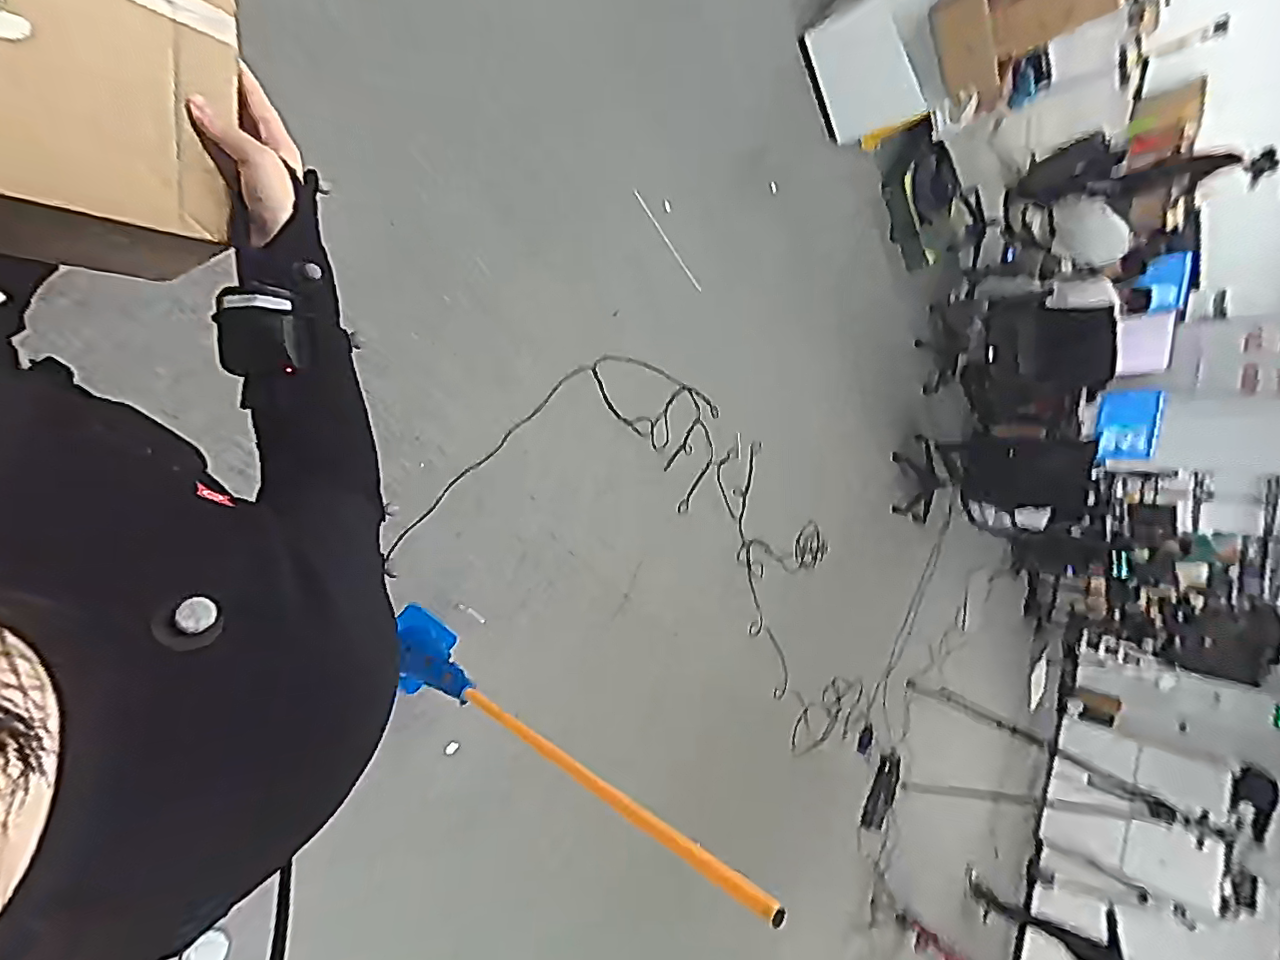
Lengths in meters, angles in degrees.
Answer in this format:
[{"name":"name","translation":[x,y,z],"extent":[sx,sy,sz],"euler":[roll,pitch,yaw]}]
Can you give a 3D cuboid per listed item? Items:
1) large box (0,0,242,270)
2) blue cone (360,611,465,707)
[{"name":"large box","translation":[-0.558,-0.362,0.367],"extent":[0.408,0.320,0.320],"euler":[-3,101,-50]},{"name":"blue cone","translation":[-0.548,0.494,1.409],"extent":[0.192,0.380,0.193],"euler":[-53,126,-26]}]
